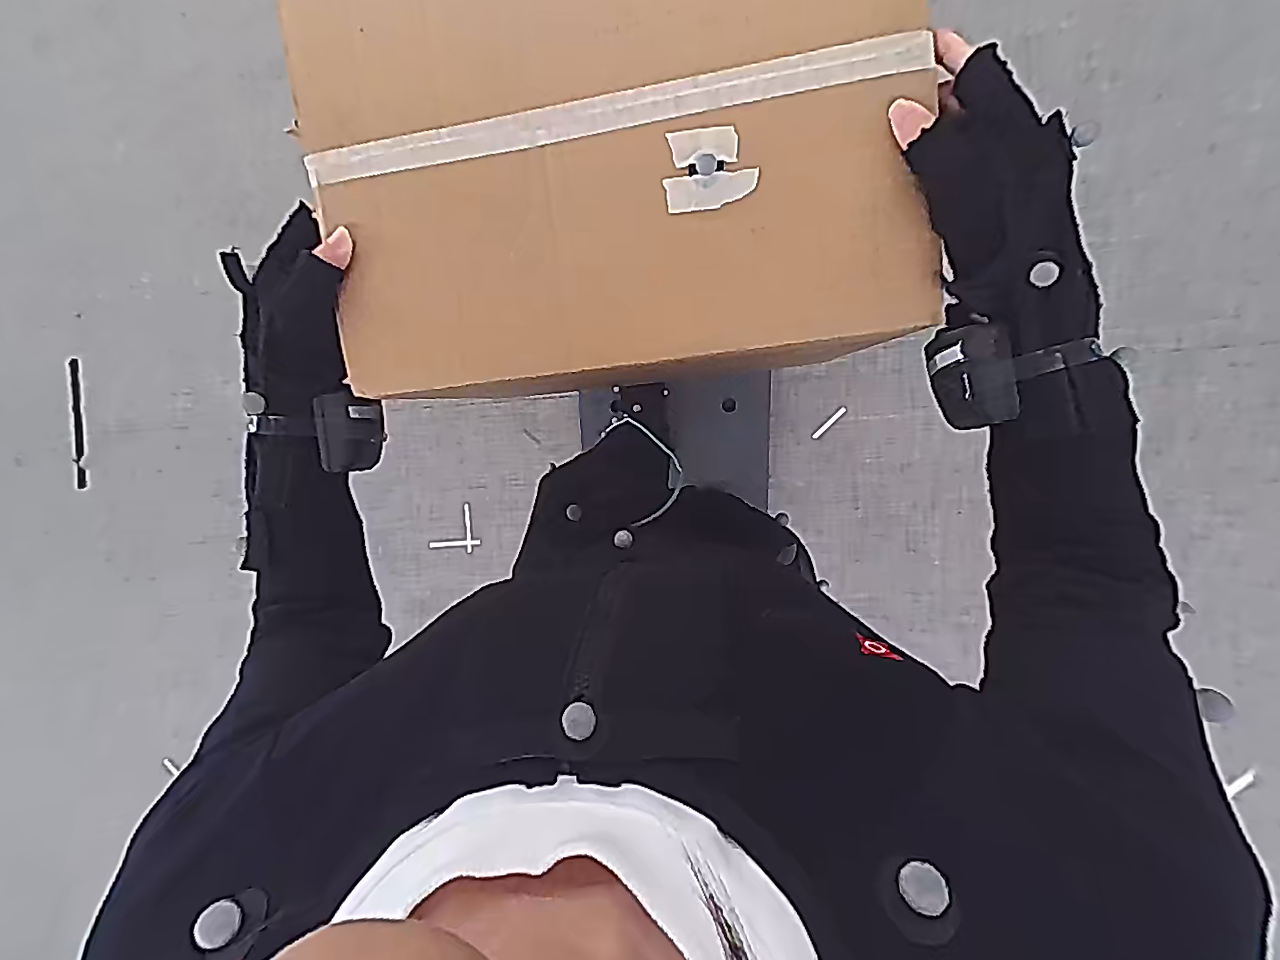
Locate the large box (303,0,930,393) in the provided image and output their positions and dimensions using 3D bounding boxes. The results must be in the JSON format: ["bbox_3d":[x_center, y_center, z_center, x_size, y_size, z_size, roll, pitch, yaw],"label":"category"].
[{"bbox_3d":[-0.008,-0.264,0.507,0.408,0.320,0.320,-6,98,7],"label":"large box"}]

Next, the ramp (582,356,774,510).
[{"bbox_3d":[0.087,-0.404,1.339,0.509,0.206,0.991,-2,94,7],"label":"ramp"}]
